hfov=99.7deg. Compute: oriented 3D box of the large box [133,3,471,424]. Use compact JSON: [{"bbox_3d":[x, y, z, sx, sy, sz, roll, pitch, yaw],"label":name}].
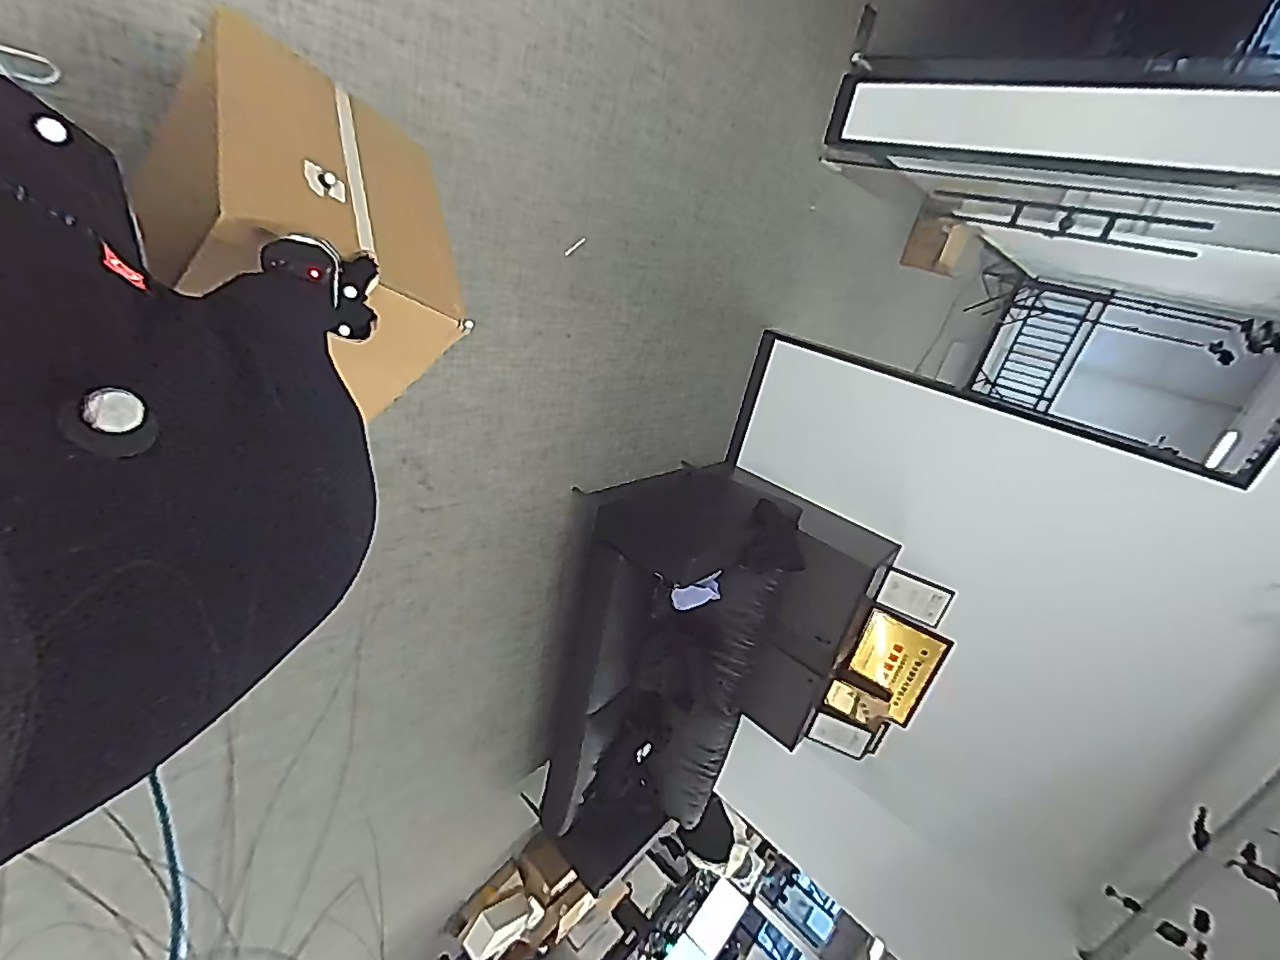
[{"bbox_3d":[-0.512,-0.355,0.816,0.320,0.408,0.320,-30,156,28],"label":"large box"}]
